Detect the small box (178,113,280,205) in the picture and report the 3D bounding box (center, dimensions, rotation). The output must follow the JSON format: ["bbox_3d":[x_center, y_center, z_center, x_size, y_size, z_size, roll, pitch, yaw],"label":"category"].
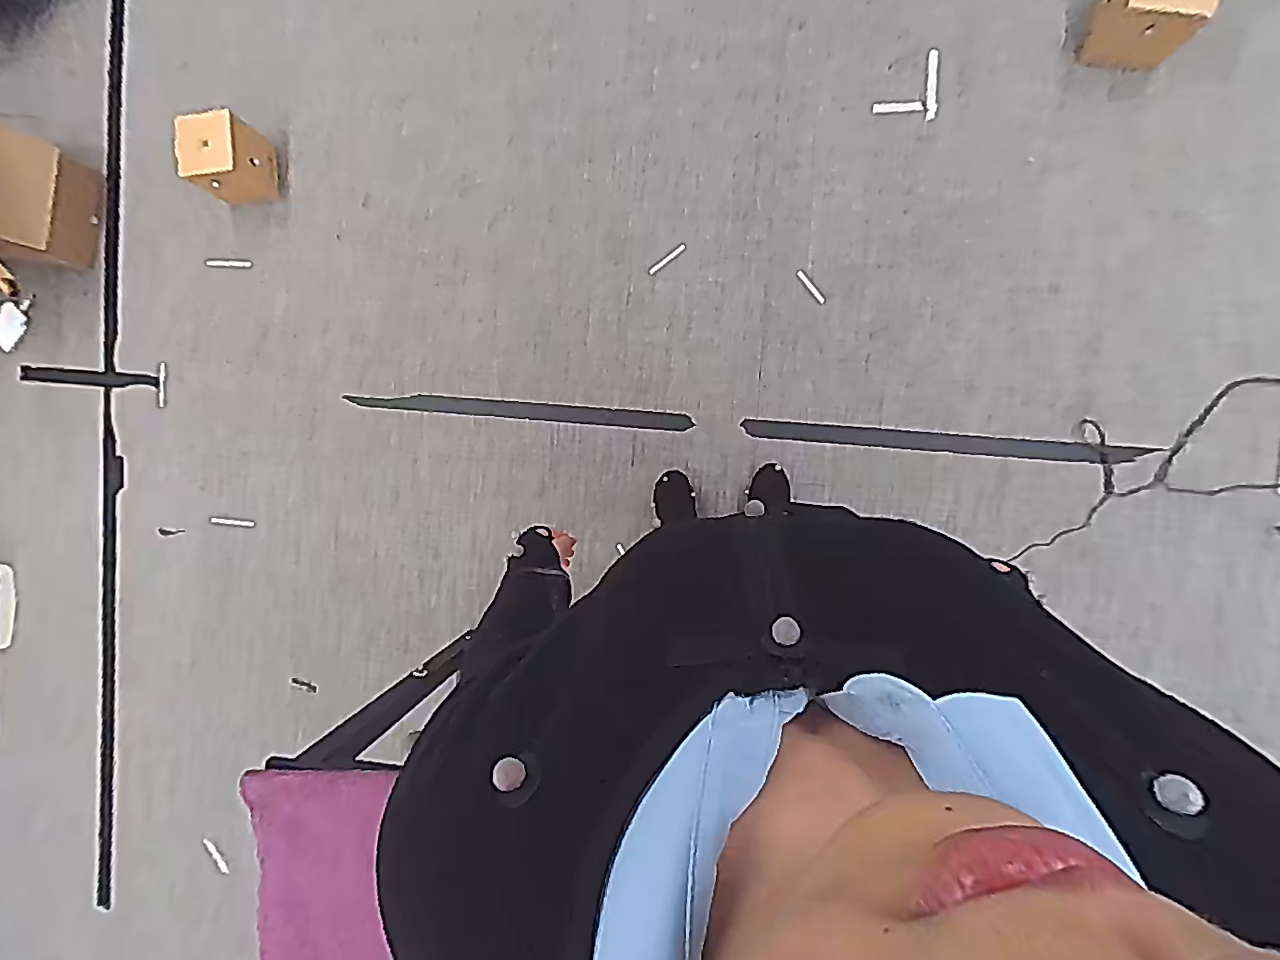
[{"bbox_3d":[-1.184,-0.927,1.574,0.179,0.176,0.168,-3,92,8],"label":"small box"}]

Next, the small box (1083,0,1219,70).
[{"bbox_3d":[1.184,-1.094,1.251,0.179,0.176,0.168,13,94,7],"label":"small box"}]
